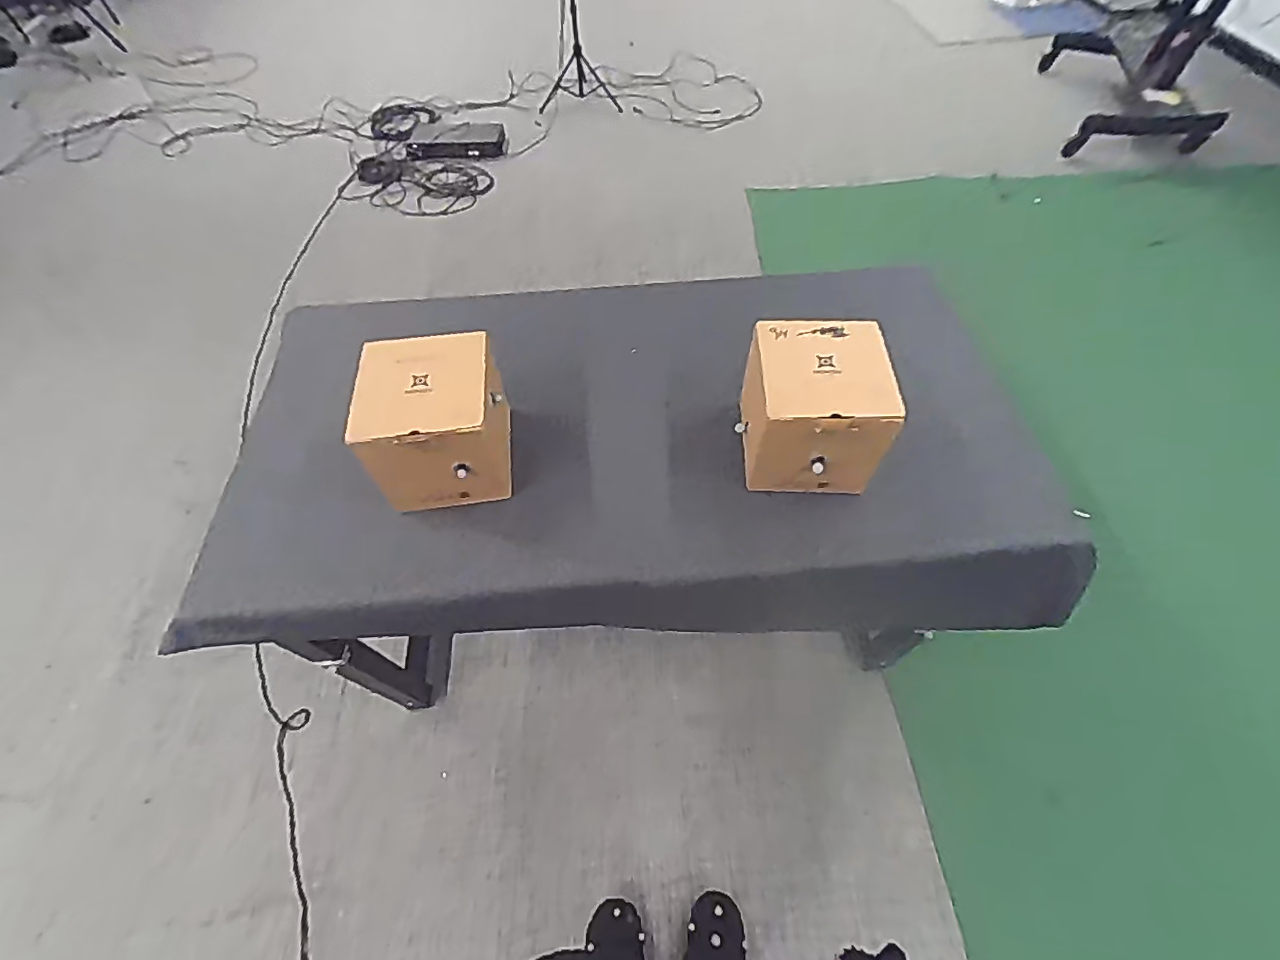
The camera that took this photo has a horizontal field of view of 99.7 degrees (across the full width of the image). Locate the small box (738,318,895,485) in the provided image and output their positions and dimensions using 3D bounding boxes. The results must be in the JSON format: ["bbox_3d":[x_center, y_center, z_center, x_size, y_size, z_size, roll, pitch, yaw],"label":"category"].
[{"bbox_3d":[0.233,-0.106,0.764,0.168,0.176,0.179,1,58,2],"label":"small box"}]

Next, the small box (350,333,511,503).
[{"bbox_3d":[-0.283,-0.080,0.769,0.168,0.176,0.179,-8,56,-5],"label":"small box"}]
